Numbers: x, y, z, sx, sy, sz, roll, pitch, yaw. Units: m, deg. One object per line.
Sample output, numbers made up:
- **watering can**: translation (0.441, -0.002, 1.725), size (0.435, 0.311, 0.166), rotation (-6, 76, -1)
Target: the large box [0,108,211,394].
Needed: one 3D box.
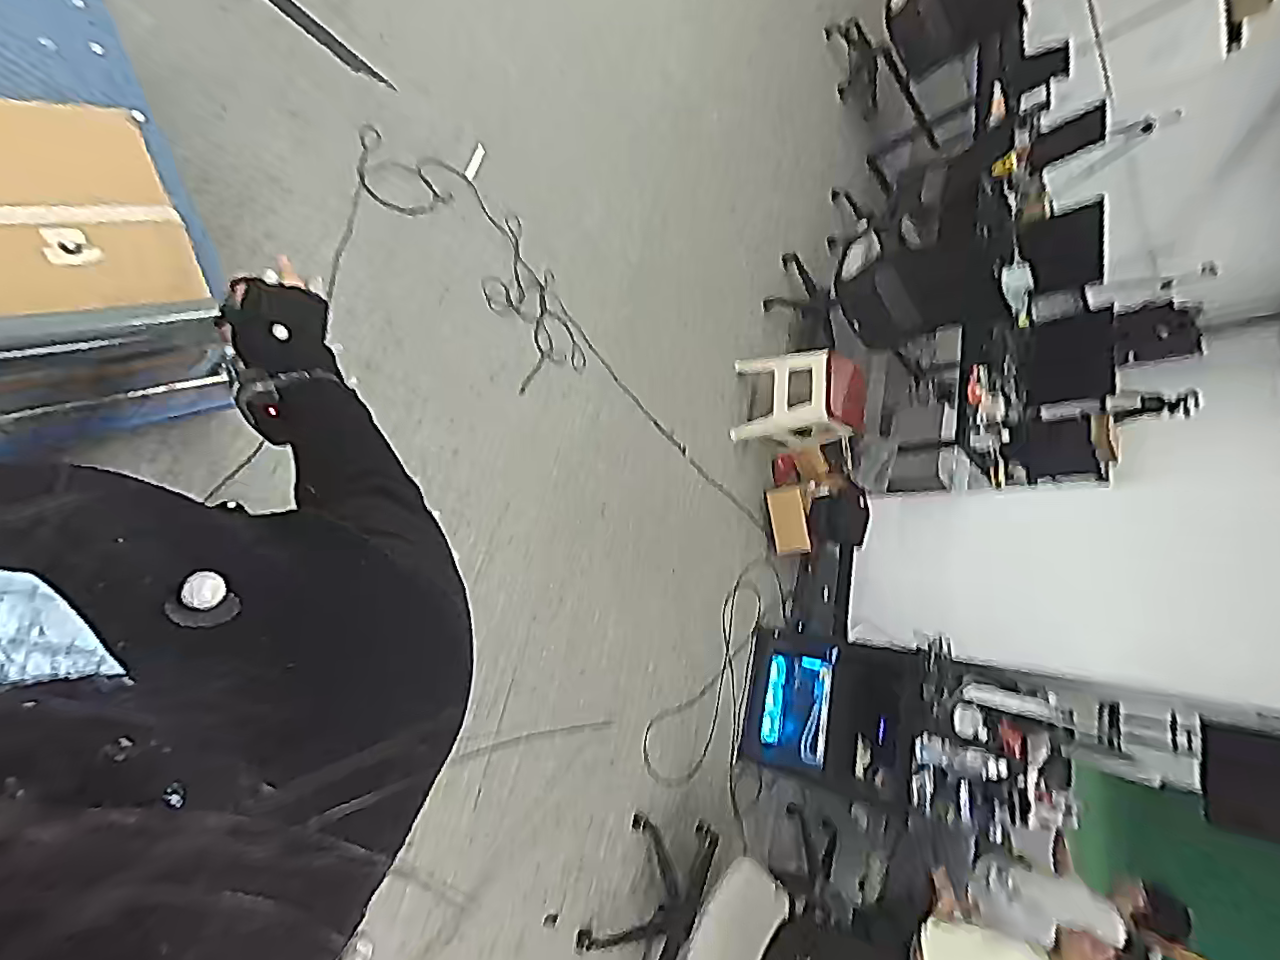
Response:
- **large box**: translation (-0.965, -0.321, 0.814), size (0.408, 0.320, 0.320), rotation (-26, 104, -43)
